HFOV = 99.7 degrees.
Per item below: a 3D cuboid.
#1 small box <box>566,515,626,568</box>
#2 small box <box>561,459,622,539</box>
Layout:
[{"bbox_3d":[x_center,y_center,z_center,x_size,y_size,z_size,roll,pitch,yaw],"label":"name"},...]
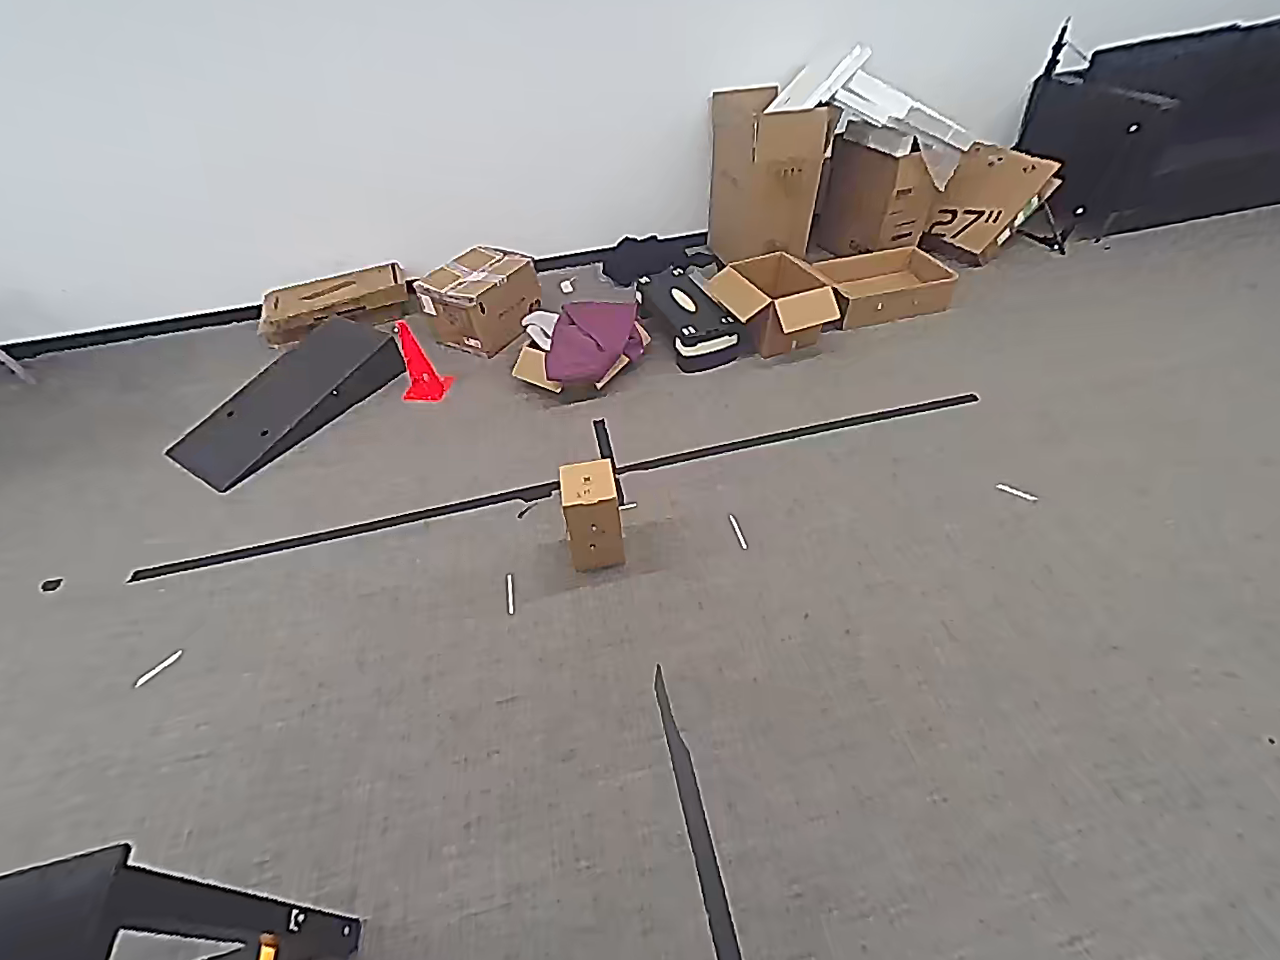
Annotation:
[{"bbox_3d":[-0.147,0.178,1.819,0.179,0.176,0.168,-9,46,-4],"label":"small box"},{"bbox_3d":[-0.152,0.060,1.705,0.168,0.176,0.179,-9,47,-4],"label":"small box"}]
